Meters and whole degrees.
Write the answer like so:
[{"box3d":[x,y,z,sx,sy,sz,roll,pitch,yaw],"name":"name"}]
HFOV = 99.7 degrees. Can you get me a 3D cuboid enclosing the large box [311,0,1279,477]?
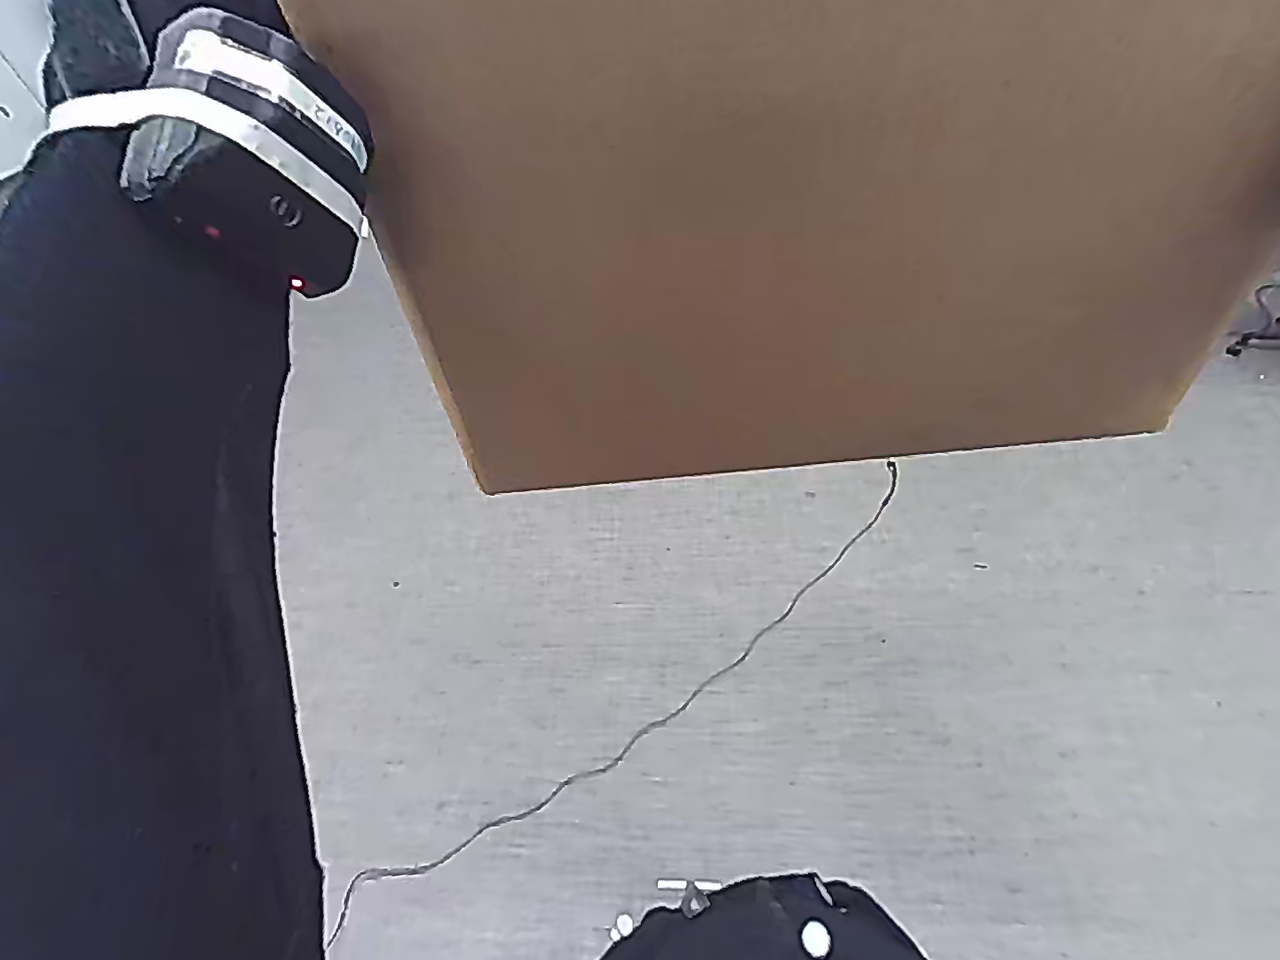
[{"box3d":[0.079,-0.227,0.343,0.408,0.320,0.320,-5,41,2],"name":"large box"}]
